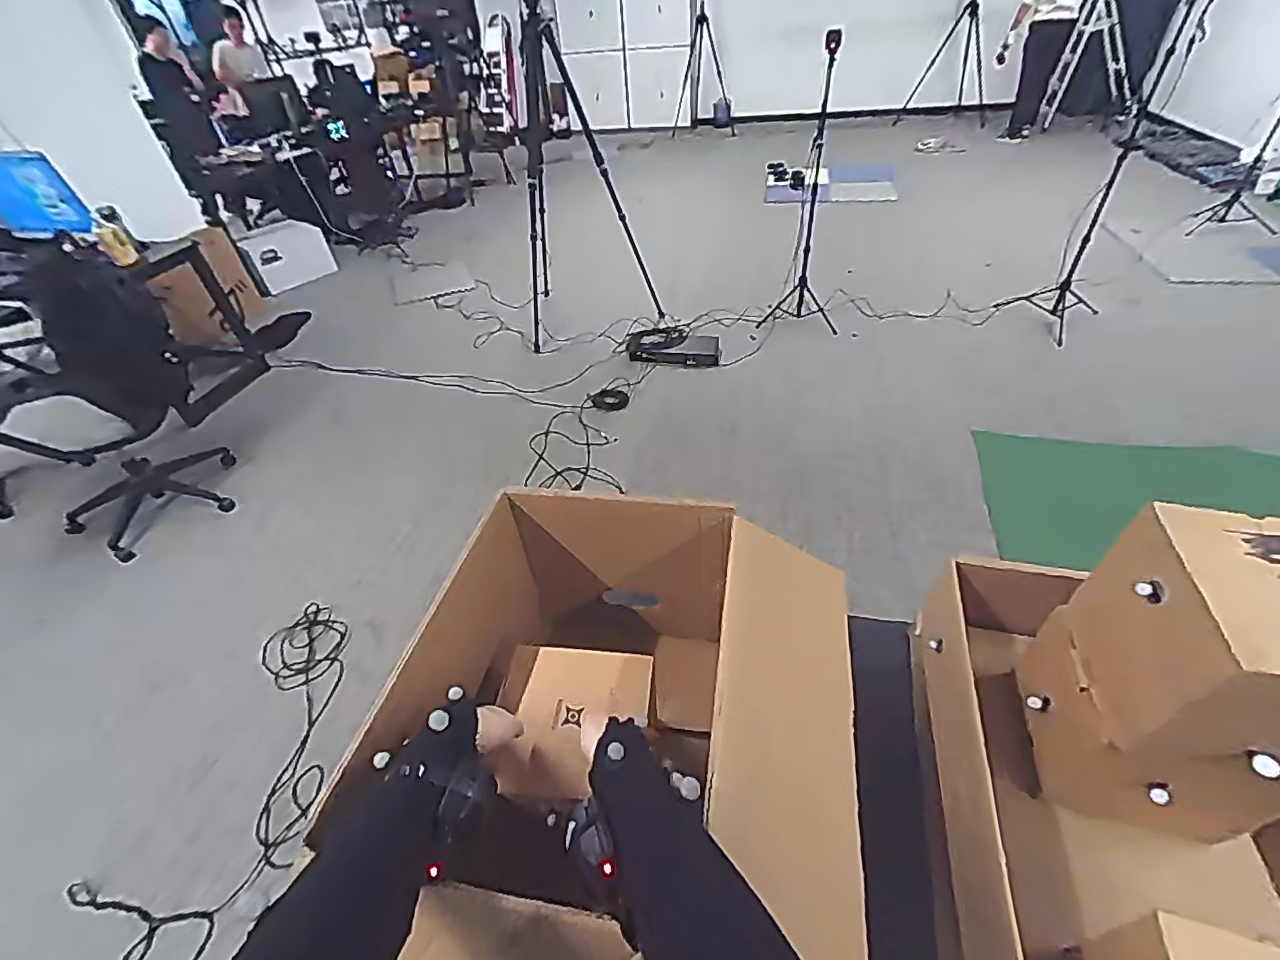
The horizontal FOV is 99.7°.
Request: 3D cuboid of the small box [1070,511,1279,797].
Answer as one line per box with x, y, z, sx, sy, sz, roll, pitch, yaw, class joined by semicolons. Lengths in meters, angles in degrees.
0.539;0.156;0.492;0.168;0.176;0.179;7;45;14;small box
